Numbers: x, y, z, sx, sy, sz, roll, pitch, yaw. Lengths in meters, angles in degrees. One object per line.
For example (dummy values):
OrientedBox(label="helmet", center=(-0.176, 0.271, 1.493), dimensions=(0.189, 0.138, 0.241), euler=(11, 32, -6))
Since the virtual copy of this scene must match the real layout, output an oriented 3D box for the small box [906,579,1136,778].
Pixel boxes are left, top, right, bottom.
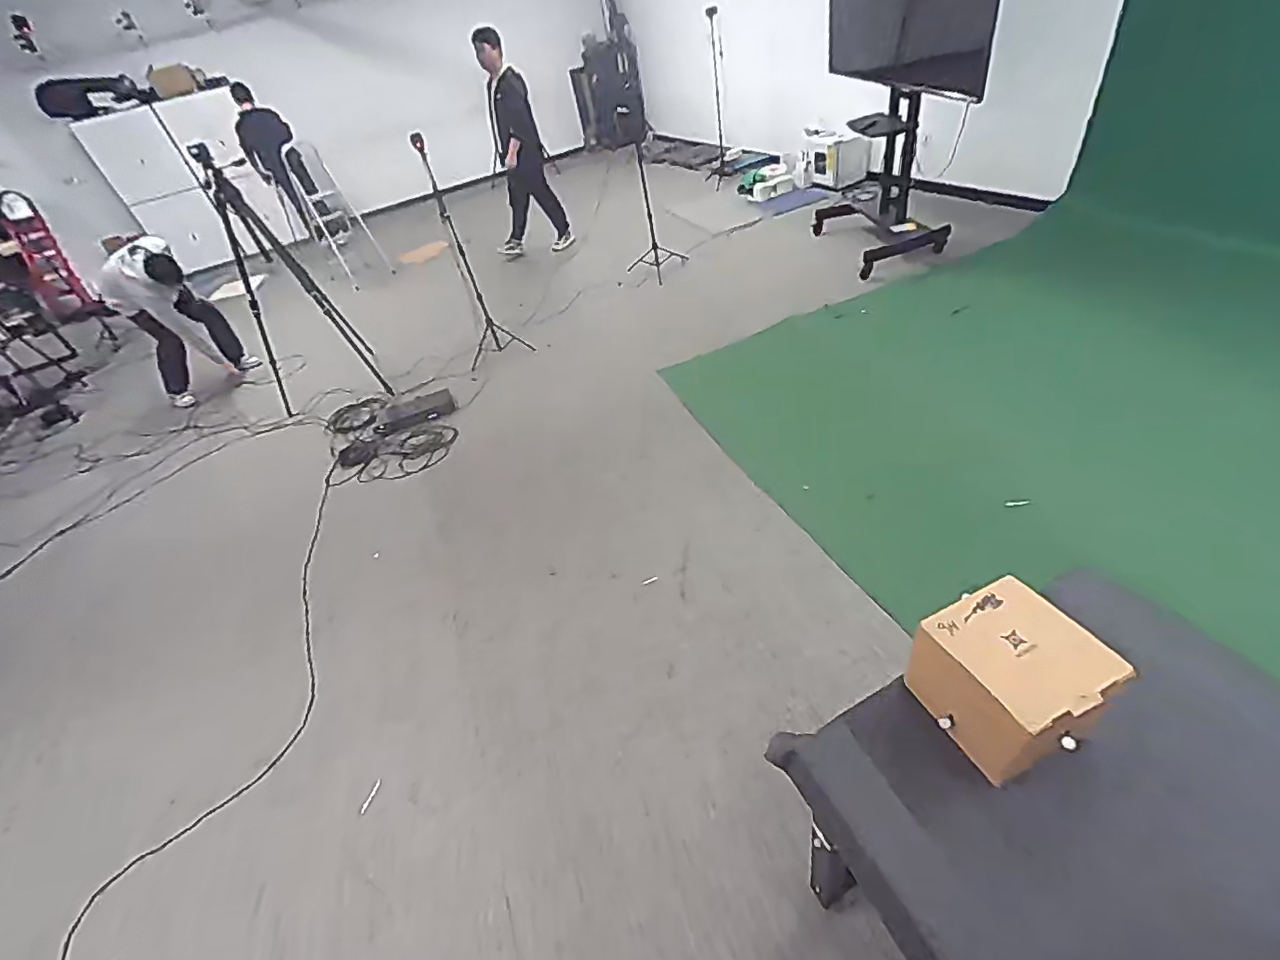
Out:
OrientedBox(label="small box", center=(0.500, 0.277, 0.742), dimensions=(0.168, 0.176, 0.179), euler=(-23, 41, -10))
